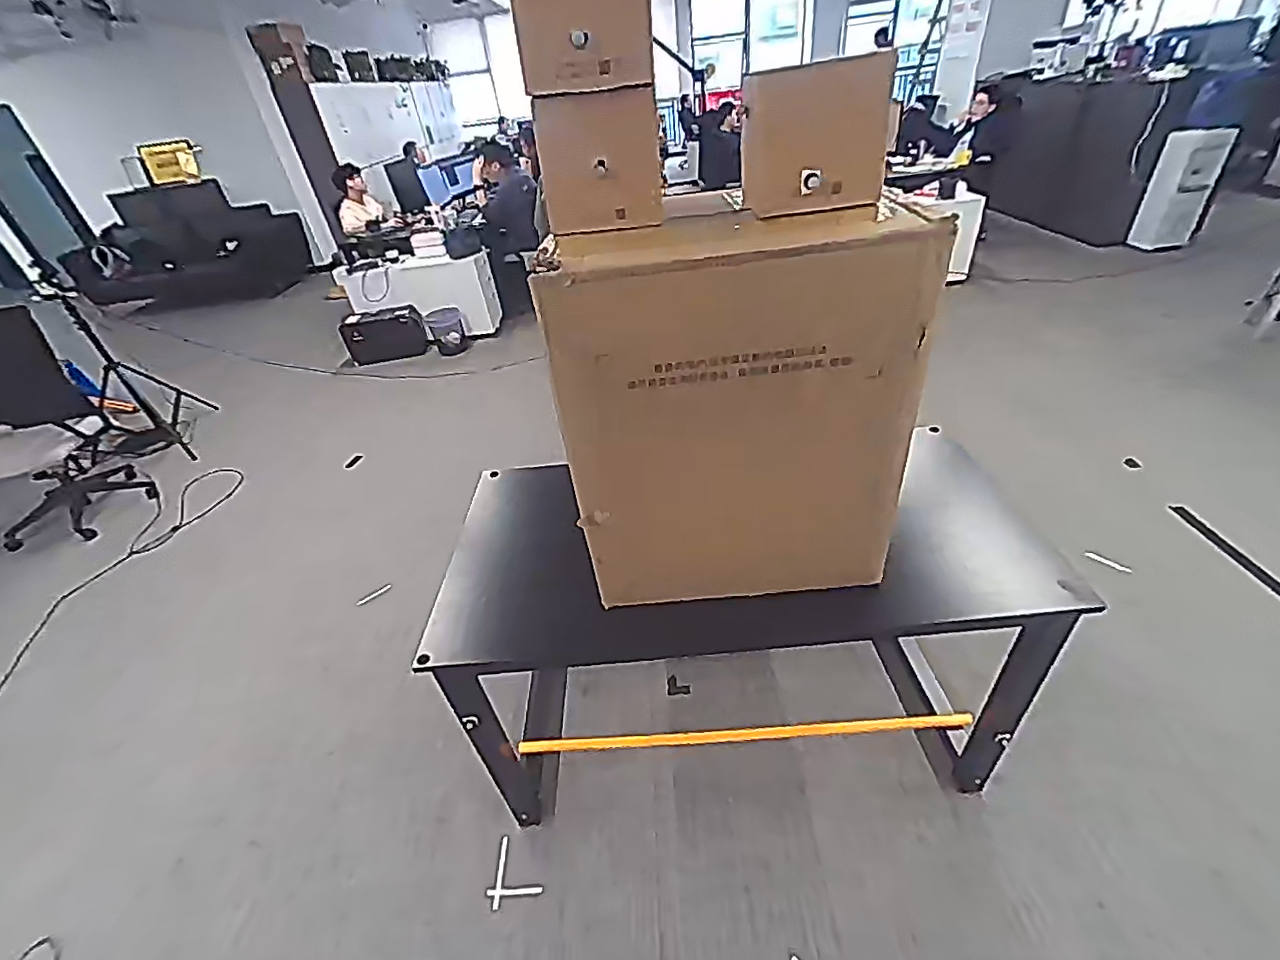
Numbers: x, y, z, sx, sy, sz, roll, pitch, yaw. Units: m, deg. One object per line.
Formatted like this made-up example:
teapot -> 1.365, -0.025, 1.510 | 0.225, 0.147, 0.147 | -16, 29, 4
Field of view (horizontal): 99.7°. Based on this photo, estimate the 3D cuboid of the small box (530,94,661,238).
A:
small box -> -0.058, -0.472, 0.816 | 0.168, 0.176, 0.179 | -5, 36, 2

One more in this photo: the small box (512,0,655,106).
small box -> -0.069, -0.596, 0.706 | 0.168, 0.176, 0.179 | -4, 36, 3

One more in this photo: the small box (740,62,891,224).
small box -> 0.234, -0.475, 0.770 | 0.168, 0.176, 0.179 | -6, 36, 5
